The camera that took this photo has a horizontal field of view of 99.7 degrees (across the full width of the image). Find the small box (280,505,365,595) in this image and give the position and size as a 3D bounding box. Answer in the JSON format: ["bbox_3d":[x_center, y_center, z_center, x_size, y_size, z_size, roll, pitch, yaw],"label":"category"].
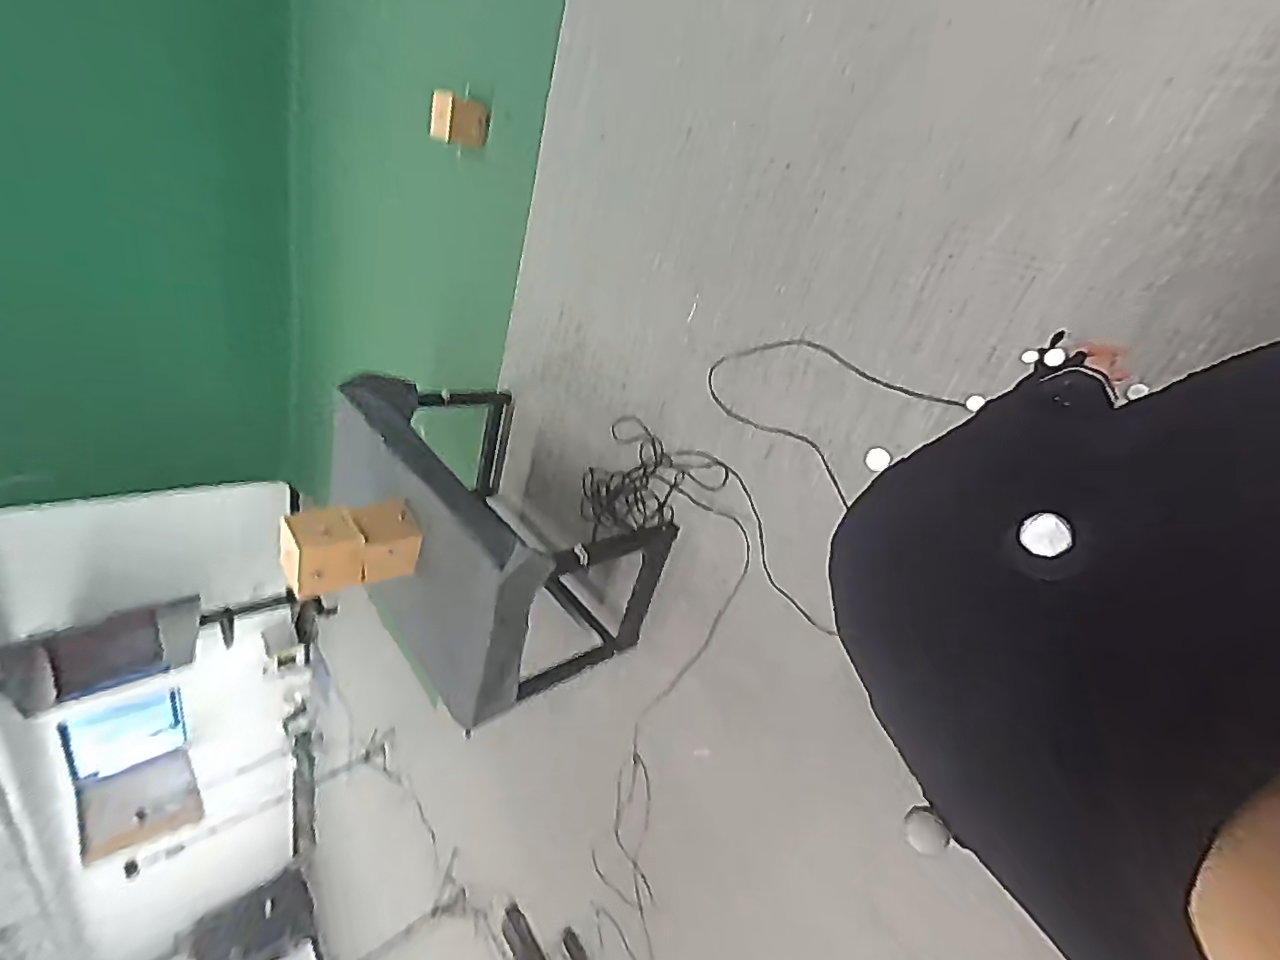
[{"bbox_3d":[-0.899,0.190,1.535,0.168,0.176,0.179,39,123,32],"label":"small box"}]

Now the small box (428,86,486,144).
[{"bbox_3d":[-0.802,-1.592,2.365,0.179,0.176,0.168,36,122,34],"label":"small box"}]
